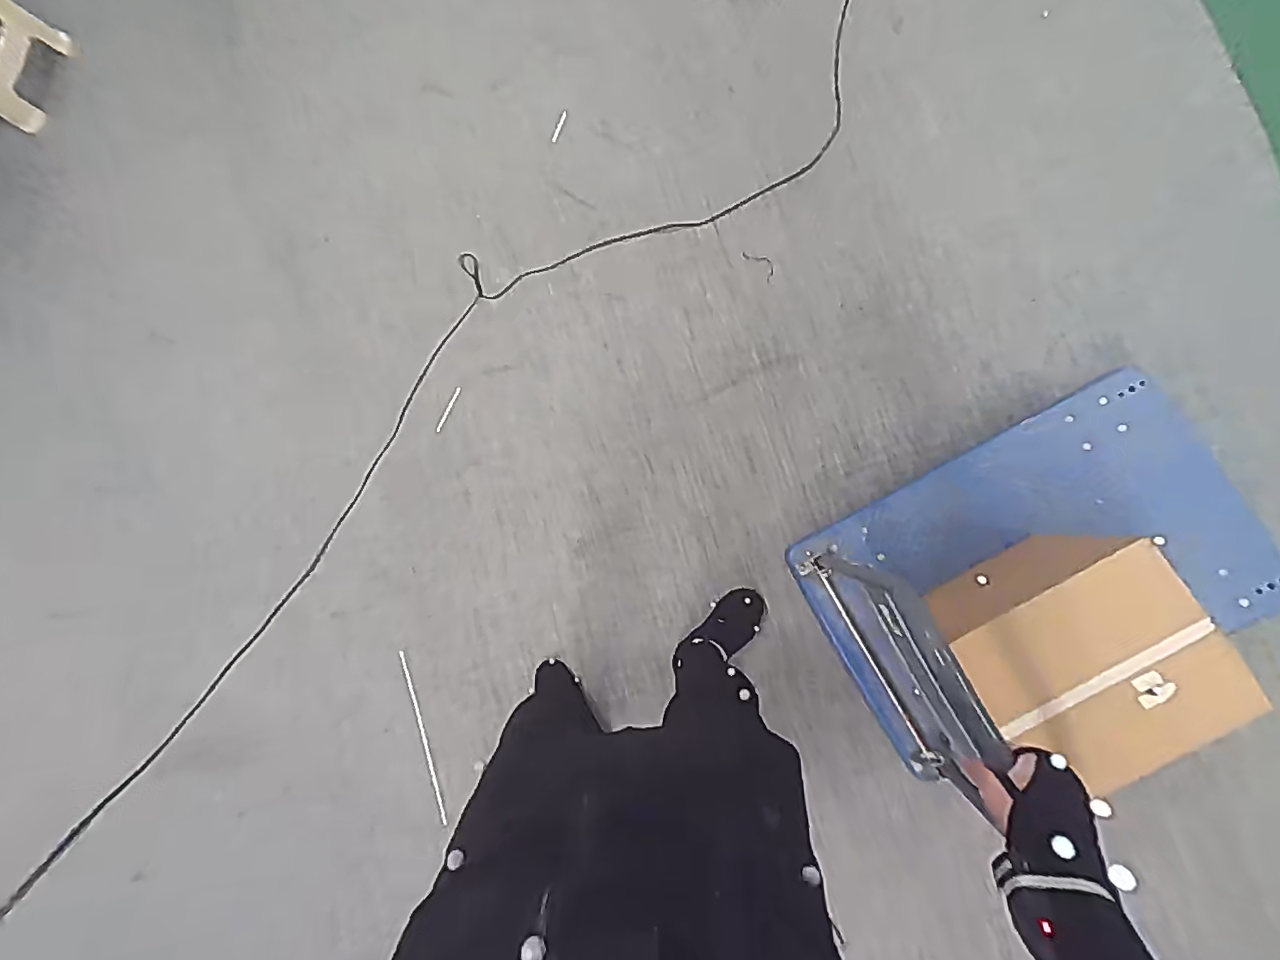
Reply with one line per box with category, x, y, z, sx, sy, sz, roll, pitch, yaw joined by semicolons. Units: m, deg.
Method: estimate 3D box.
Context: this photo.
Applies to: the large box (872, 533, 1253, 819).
large box;0.737;0.331;1.026;0.408;0.320;0.320;-31;83;4
